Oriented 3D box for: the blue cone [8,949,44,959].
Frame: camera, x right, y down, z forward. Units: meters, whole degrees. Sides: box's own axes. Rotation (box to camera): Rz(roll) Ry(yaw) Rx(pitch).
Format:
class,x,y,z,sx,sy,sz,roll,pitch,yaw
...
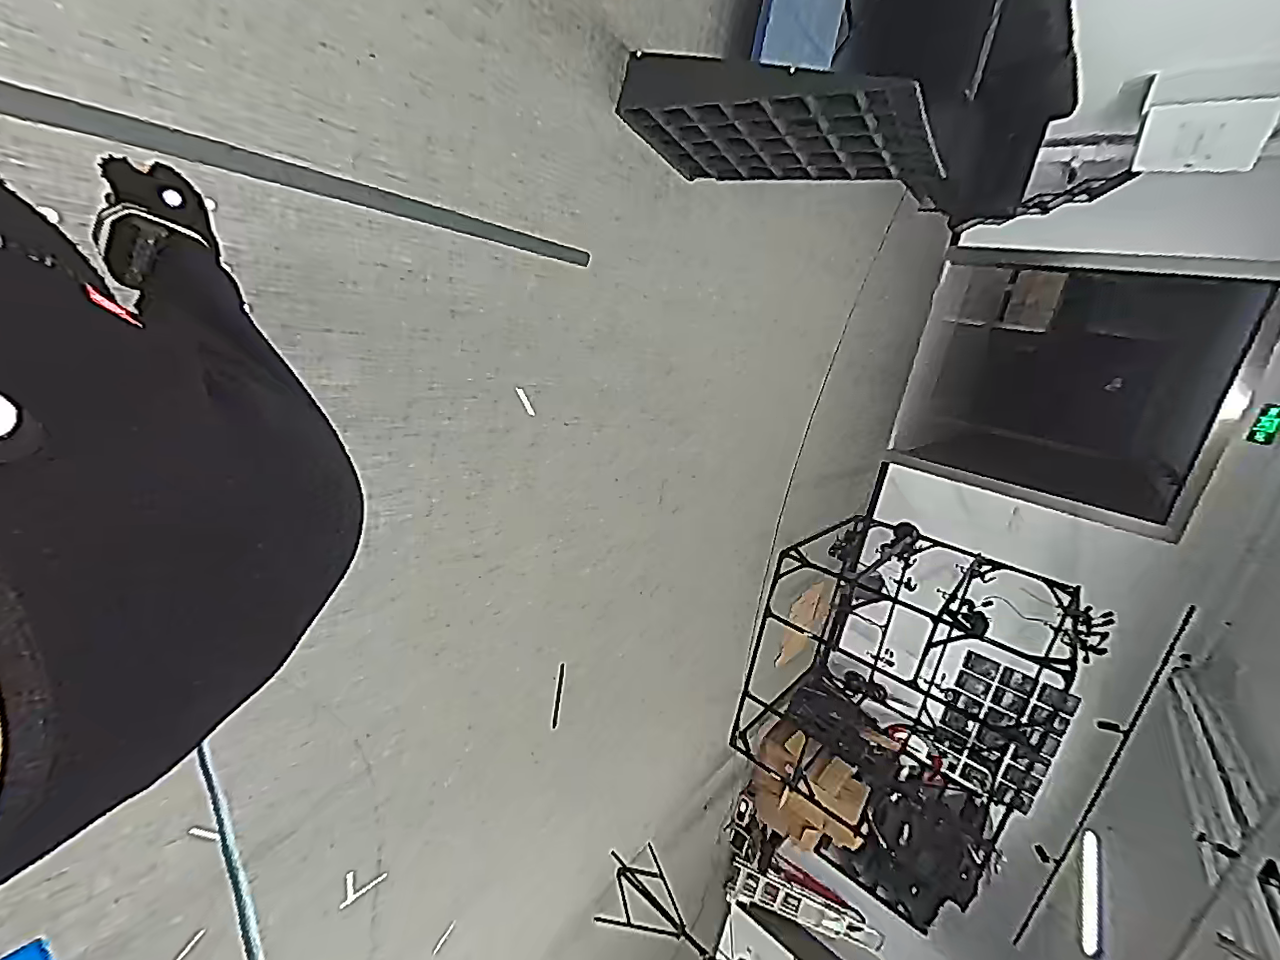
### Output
class,x,y,z,sx,sy,sz,roll,pitch,yaw
blue cone,-1.389,1.266,1.162,0.192,0.380,0.193,-15,120,-50
